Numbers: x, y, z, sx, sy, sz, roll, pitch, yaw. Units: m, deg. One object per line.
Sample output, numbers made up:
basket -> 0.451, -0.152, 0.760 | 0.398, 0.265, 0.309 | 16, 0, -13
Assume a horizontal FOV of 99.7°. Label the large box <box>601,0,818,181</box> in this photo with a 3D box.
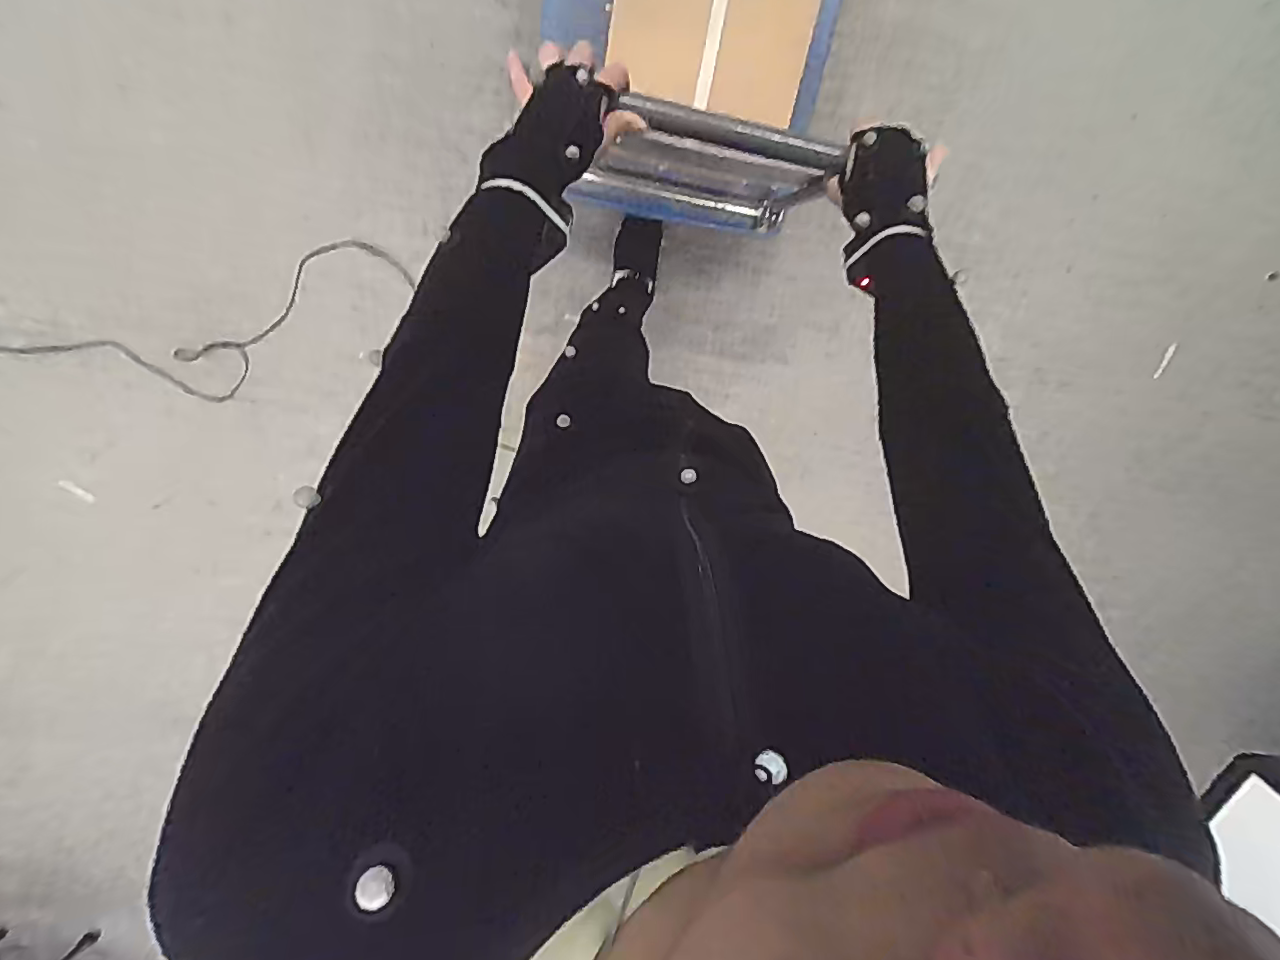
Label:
large box -> 0.111, -0.792, 0.954 | 0.320, 0.320, 0.408 | 8, 113, -8
